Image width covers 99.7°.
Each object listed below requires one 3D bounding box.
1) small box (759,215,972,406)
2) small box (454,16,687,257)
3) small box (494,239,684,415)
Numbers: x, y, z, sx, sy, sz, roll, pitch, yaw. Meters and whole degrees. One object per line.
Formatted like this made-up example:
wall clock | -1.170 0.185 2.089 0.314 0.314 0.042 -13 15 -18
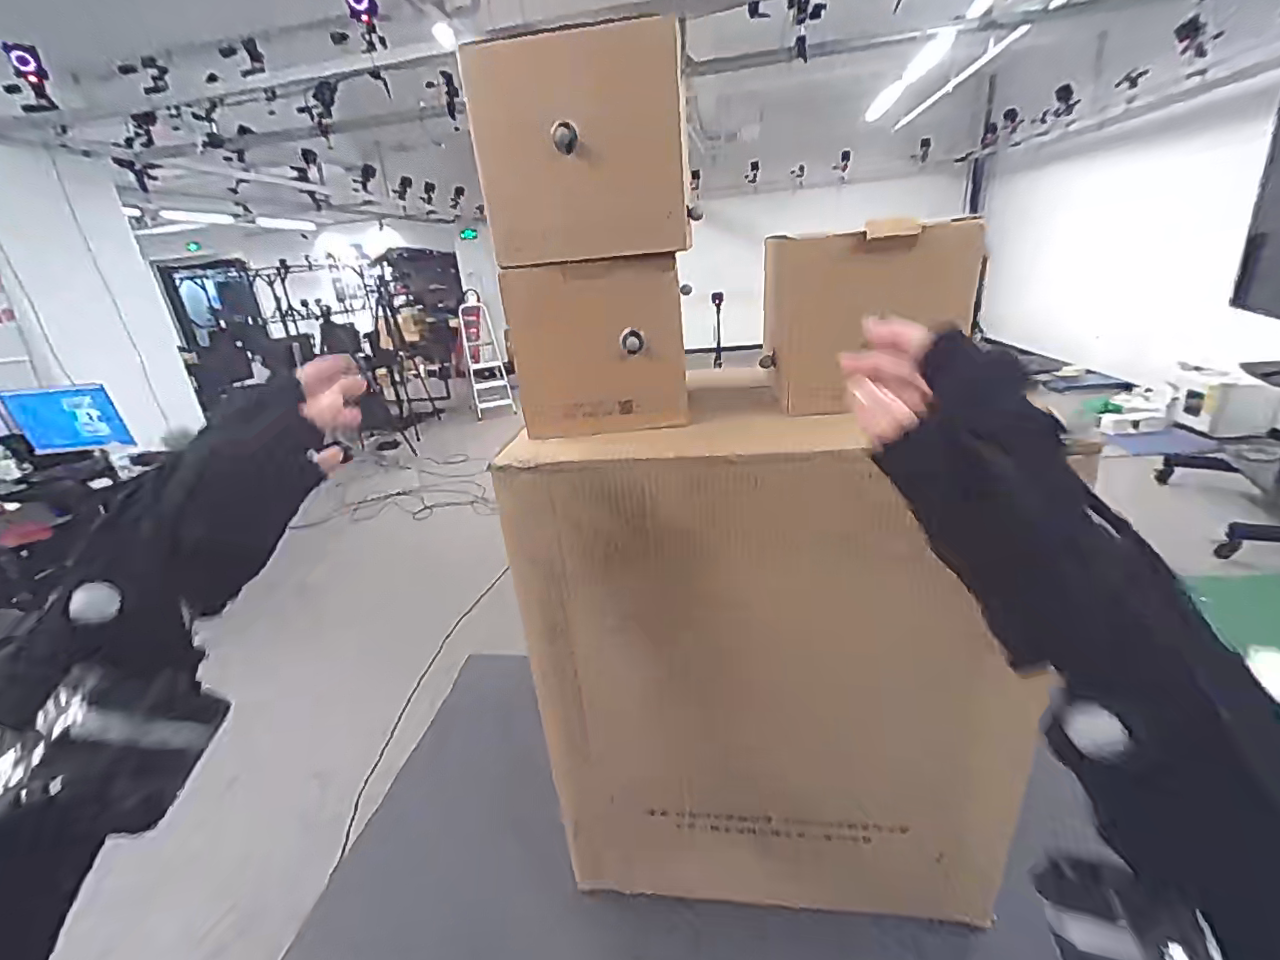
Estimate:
small box | 0.222 -0.181 0.581 0.168 0.176 0.179 -3 25 6
small box | -0.047 -0.304 0.522 0.179 0.176 0.168 -3 24 8
small box | -0.045 -0.174 0.593 0.168 0.176 0.179 -6 25 1
